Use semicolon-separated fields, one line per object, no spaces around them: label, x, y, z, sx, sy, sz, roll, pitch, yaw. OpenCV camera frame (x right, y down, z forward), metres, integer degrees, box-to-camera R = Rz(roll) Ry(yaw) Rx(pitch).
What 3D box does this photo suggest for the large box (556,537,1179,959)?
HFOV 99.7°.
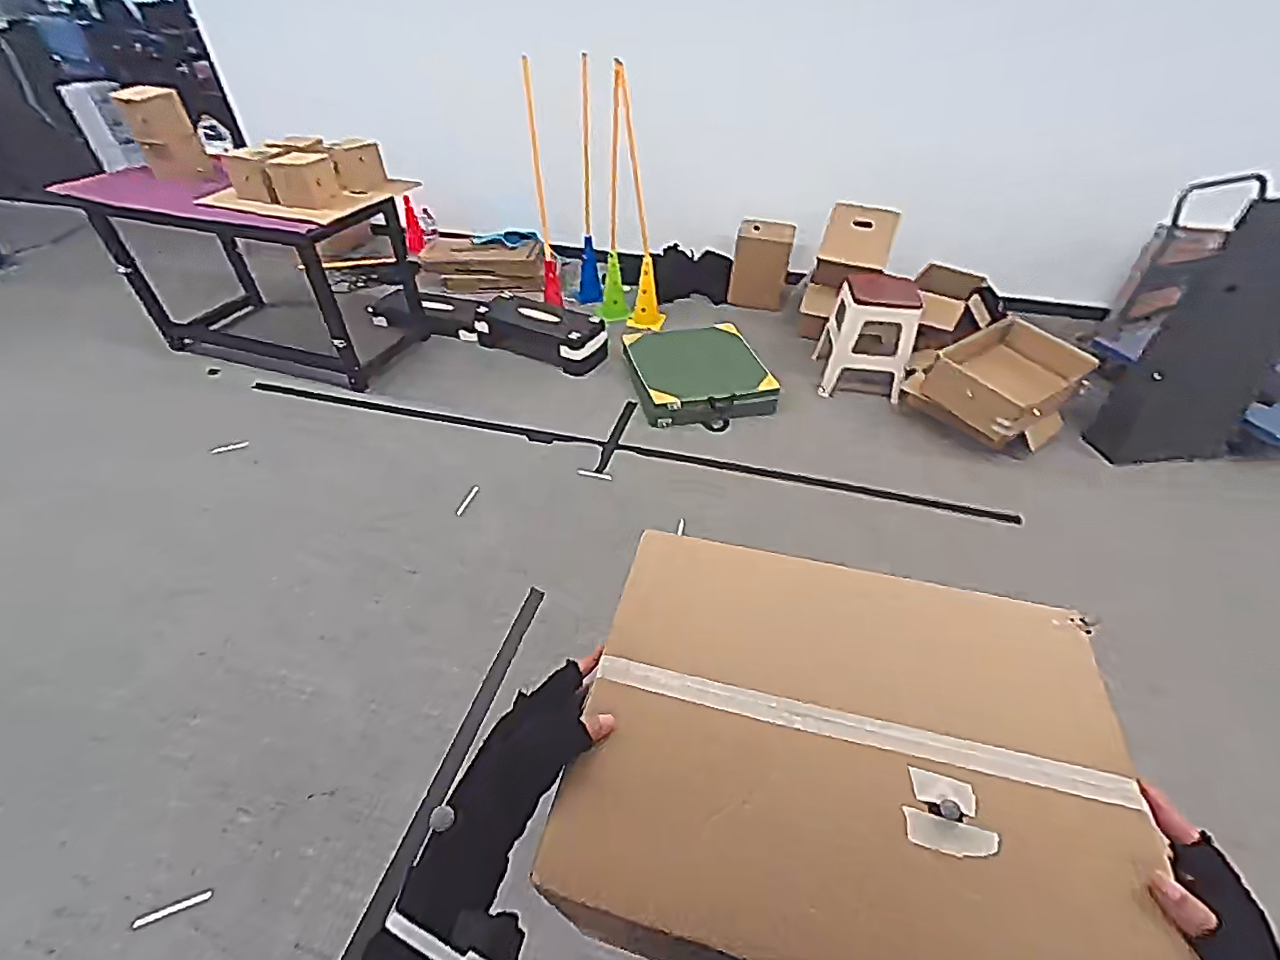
large box;0.169;0.300;0.544;0.408;0.320;0.320;10;48;11
